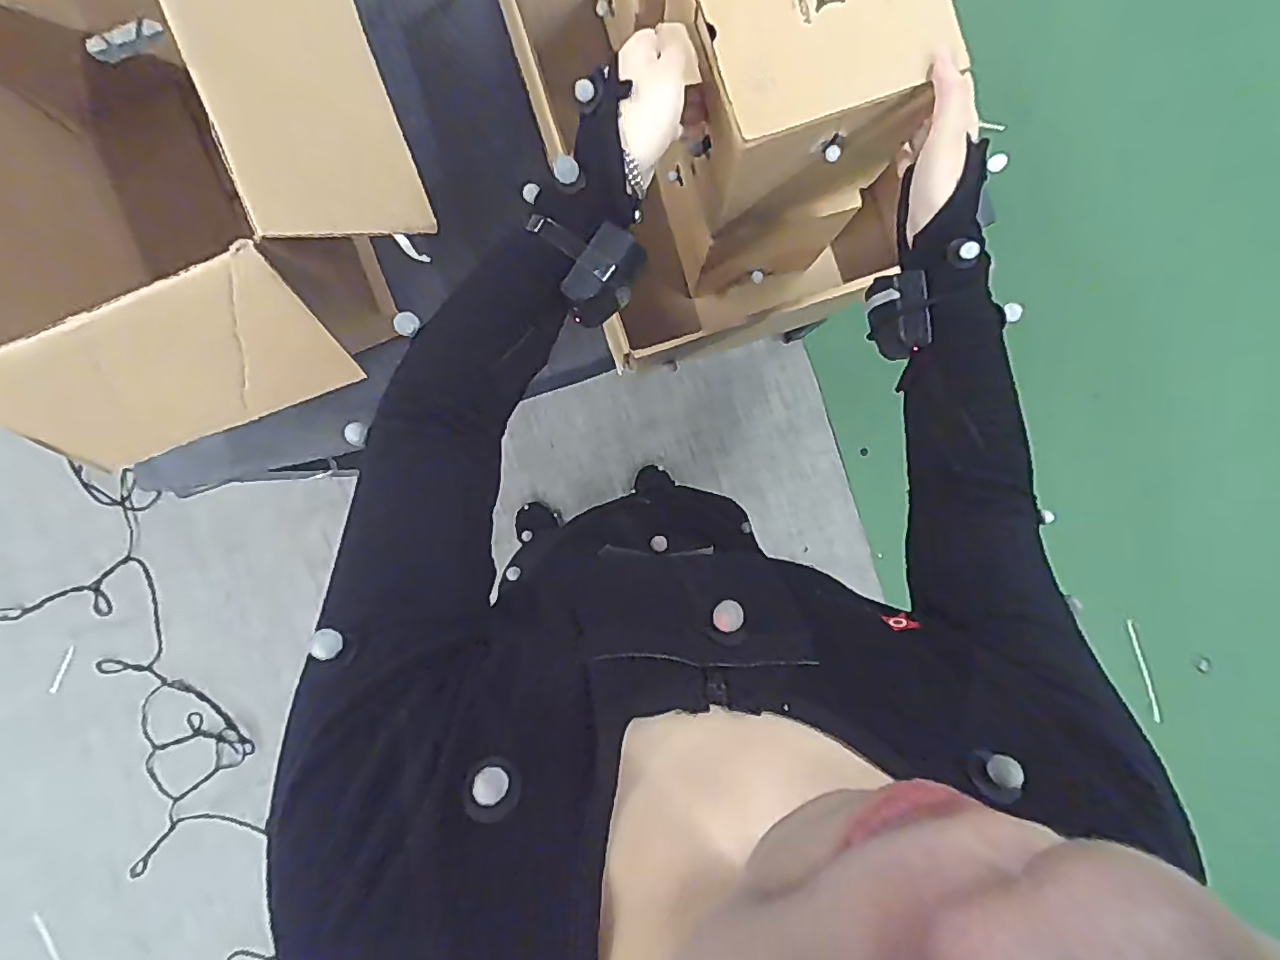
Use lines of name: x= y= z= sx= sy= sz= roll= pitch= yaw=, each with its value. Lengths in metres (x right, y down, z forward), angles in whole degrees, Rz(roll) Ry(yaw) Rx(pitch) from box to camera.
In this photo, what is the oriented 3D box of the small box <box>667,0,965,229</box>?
small box: x=0.128 y=-0.349 z=0.467 sx=0.179 sy=0.176 sz=0.168 roll=-19 pitch=93 yaw=-1
